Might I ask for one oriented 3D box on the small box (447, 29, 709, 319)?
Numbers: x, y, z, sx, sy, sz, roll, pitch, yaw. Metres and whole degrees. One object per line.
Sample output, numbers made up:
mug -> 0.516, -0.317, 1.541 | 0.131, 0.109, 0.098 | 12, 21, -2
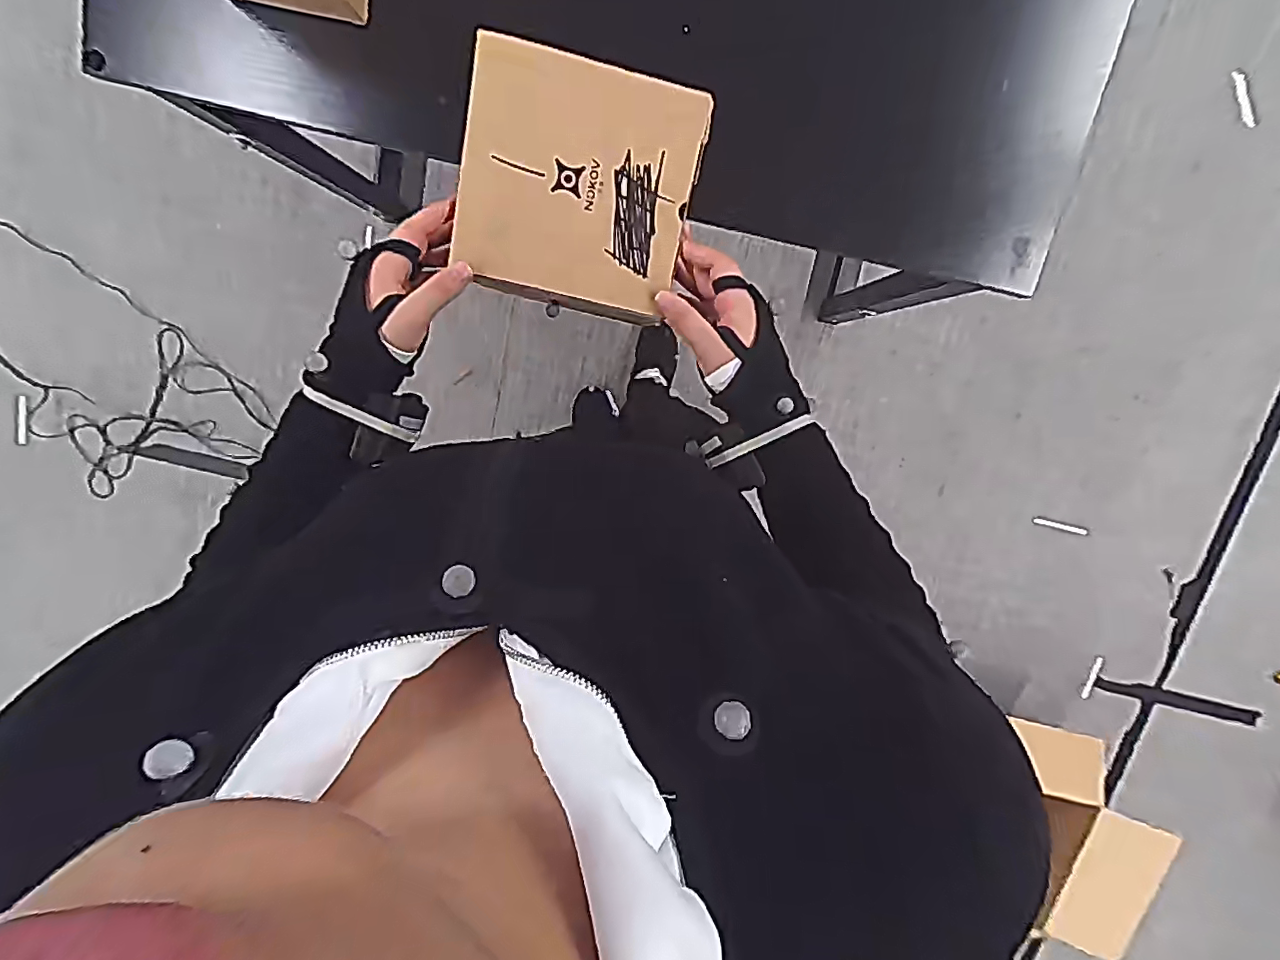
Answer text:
small box -> -0.055, -0.247, 0.490 | 0.179, 0.176, 0.168 | 11, 102, -7

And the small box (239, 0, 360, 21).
small box -> -0.396, -0.616, 0.547 | 0.179, 0.176, 0.168 | 10, 101, -1
